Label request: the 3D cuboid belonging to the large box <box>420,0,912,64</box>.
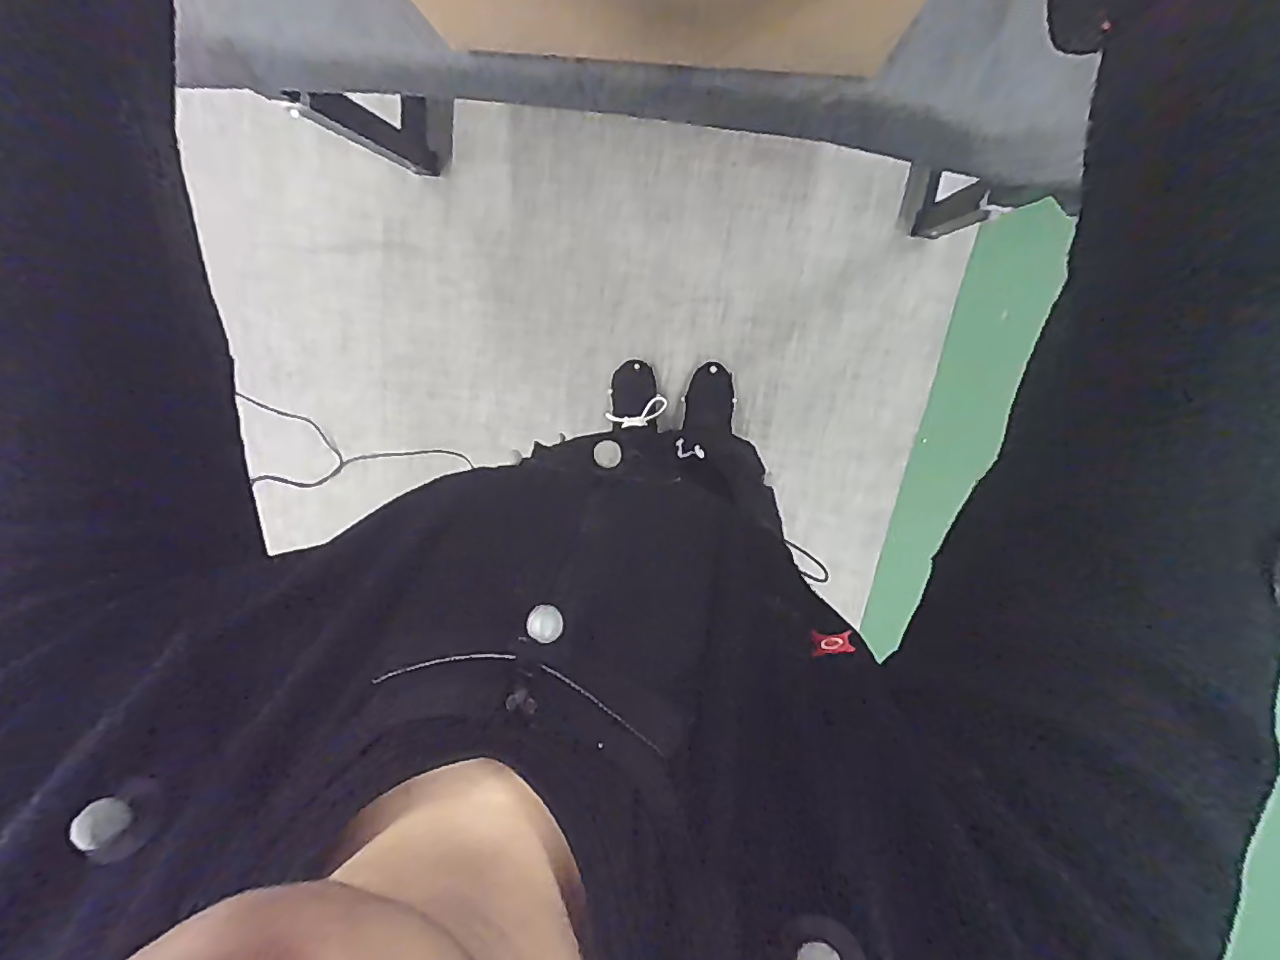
[{"bbox_3d":[0.016,-0.506,0.326,0.408,0.320,0.320,5,105,3],"label":"large box"}]
